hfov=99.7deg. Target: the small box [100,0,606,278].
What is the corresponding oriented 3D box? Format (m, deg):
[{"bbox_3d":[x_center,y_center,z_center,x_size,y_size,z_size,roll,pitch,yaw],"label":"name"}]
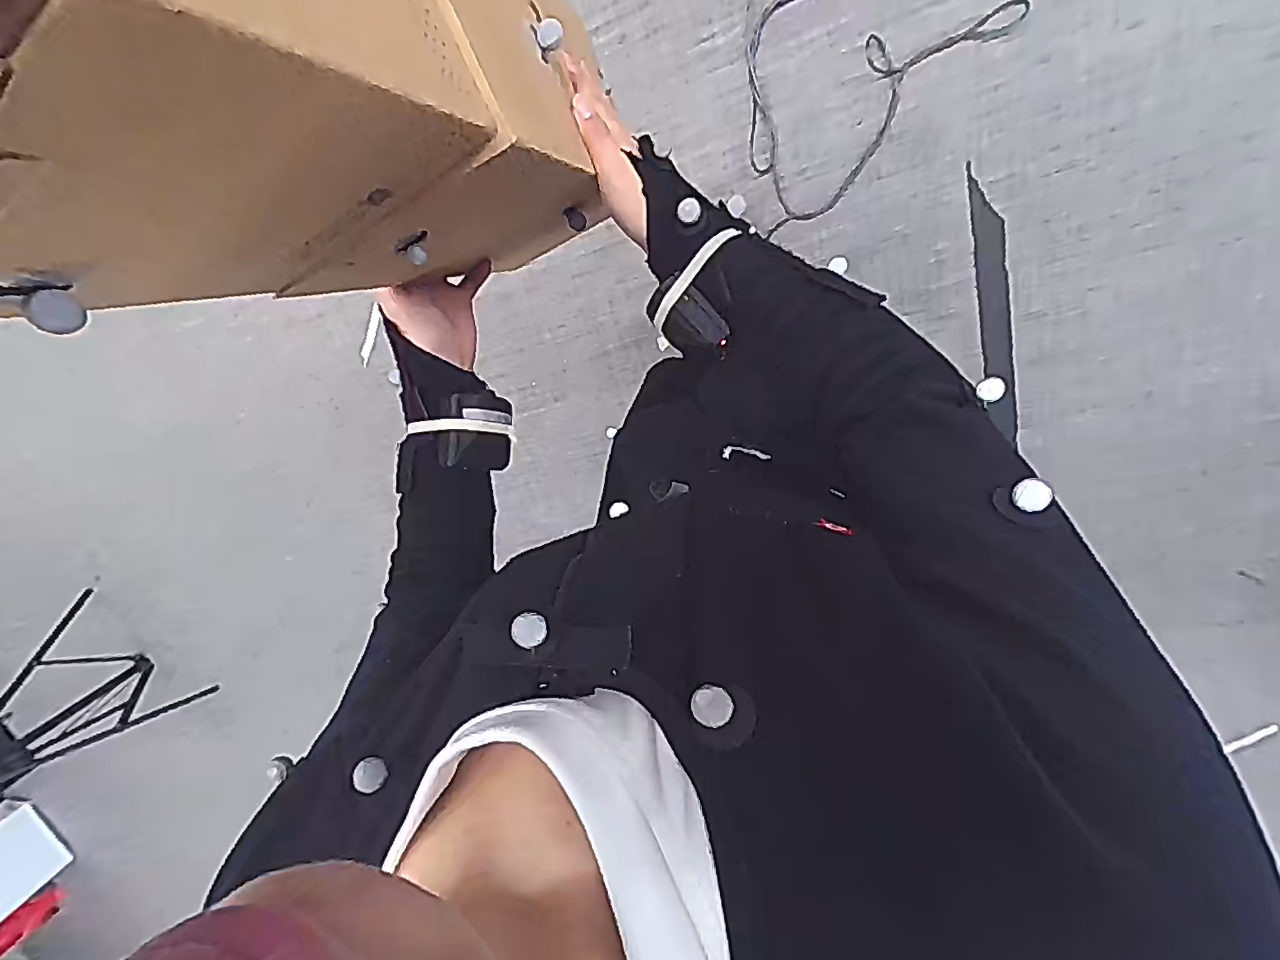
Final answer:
[{"bbox_3d":[-0.145,-0.236,0.322,0.179,0.176,0.168,-19,108,20],"label":"small box"}]
